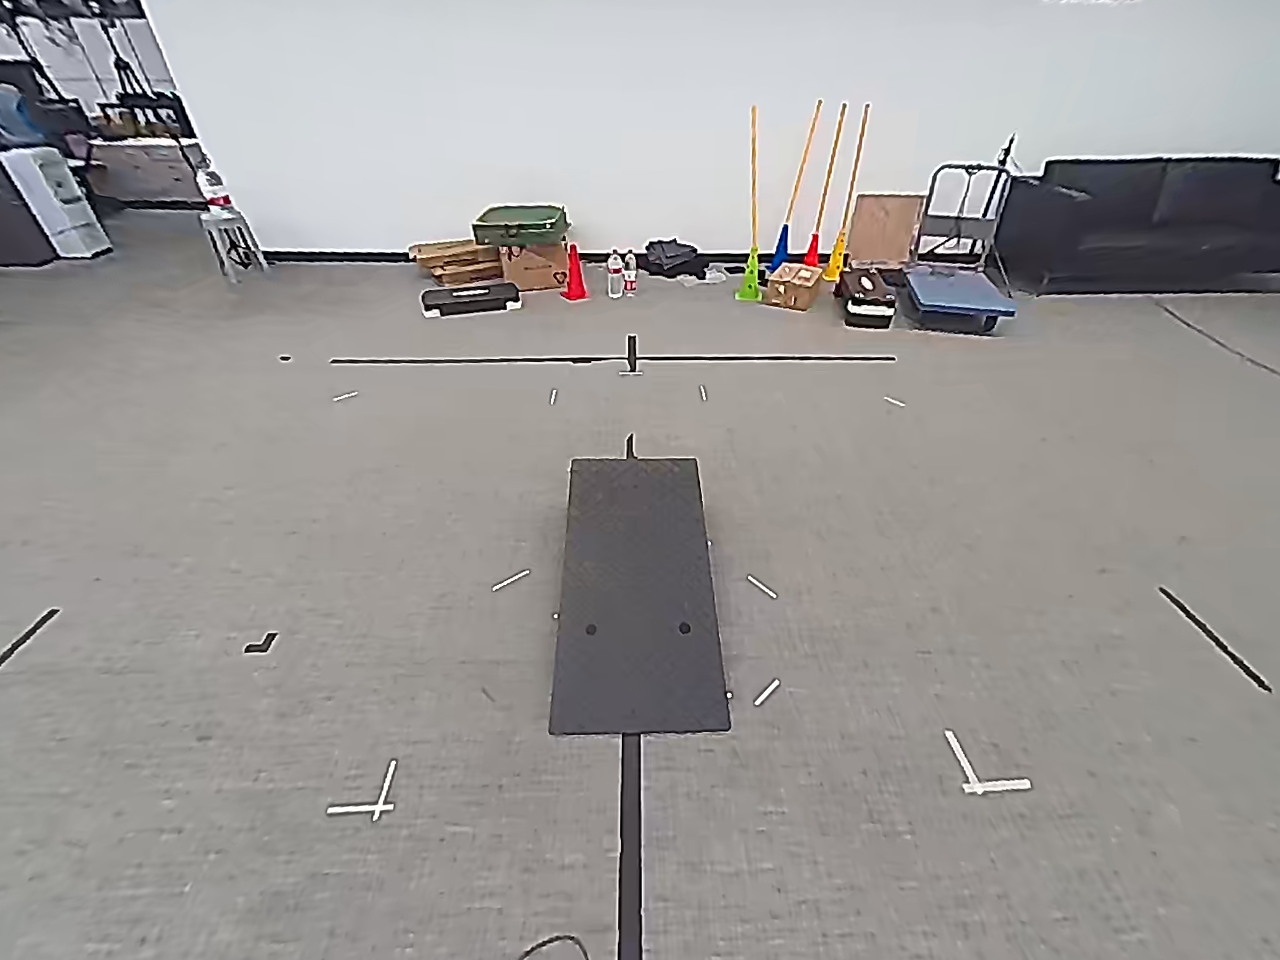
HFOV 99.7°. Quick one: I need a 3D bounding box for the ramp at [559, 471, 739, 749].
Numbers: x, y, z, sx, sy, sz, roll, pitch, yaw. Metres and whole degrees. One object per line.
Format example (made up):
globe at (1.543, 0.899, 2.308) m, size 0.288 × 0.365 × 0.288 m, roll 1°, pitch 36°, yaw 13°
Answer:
ramp at (0.011, 0.340, 1.773) m, size 0.509 × 0.206 × 0.991 m, roll -2°, pitch 37°, yaw -4°
